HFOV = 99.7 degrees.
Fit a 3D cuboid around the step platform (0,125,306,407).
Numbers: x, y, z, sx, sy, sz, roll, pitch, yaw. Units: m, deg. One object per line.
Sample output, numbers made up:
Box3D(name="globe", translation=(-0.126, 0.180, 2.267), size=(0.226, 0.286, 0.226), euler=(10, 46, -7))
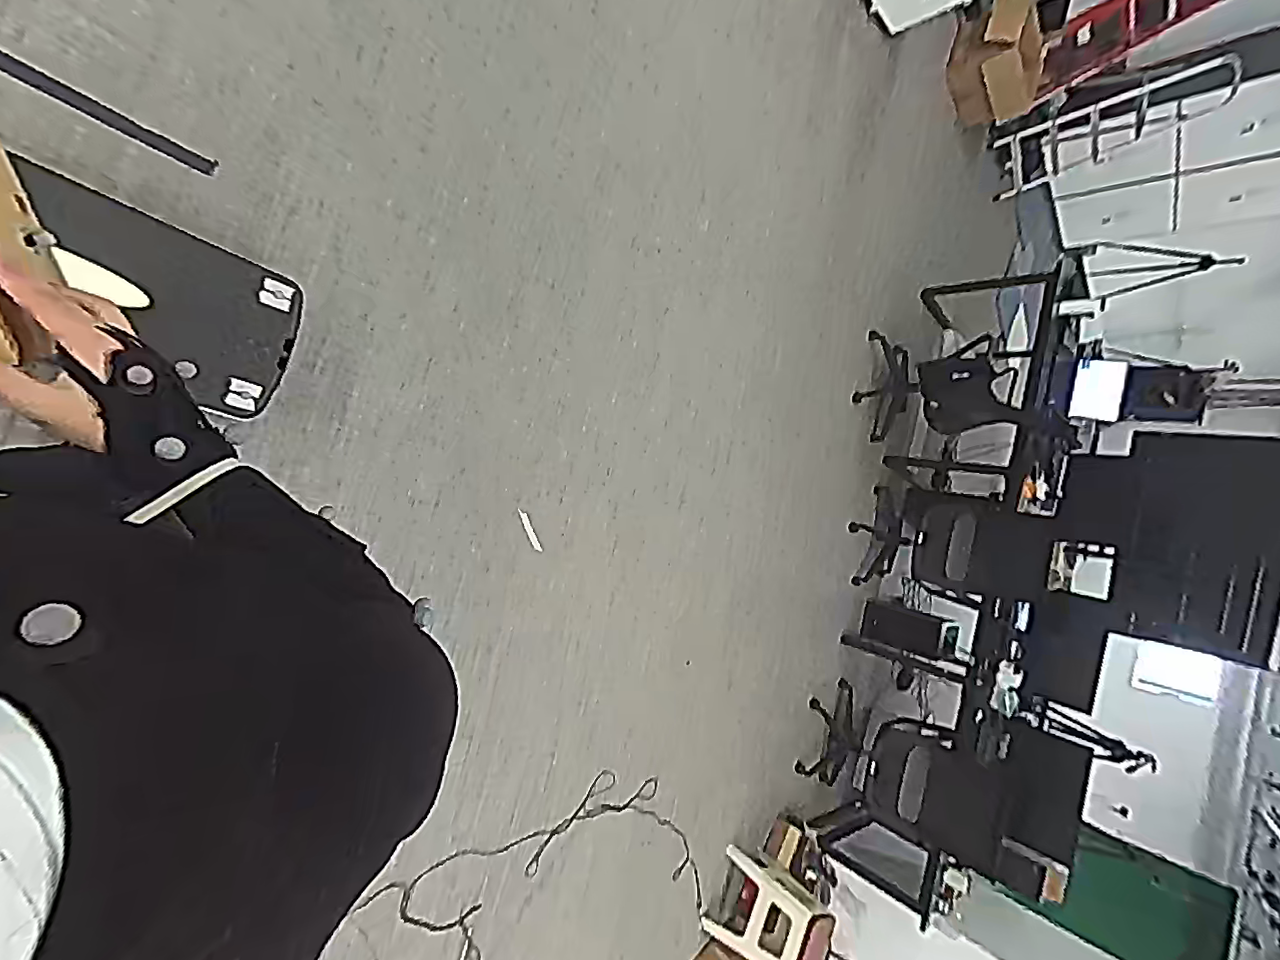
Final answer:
Box3D(name="step platform", translation=(-0.939, -0.355, 0.861), size=(0.684, 0.204, 0.286), euler=(20, 82, -44))
